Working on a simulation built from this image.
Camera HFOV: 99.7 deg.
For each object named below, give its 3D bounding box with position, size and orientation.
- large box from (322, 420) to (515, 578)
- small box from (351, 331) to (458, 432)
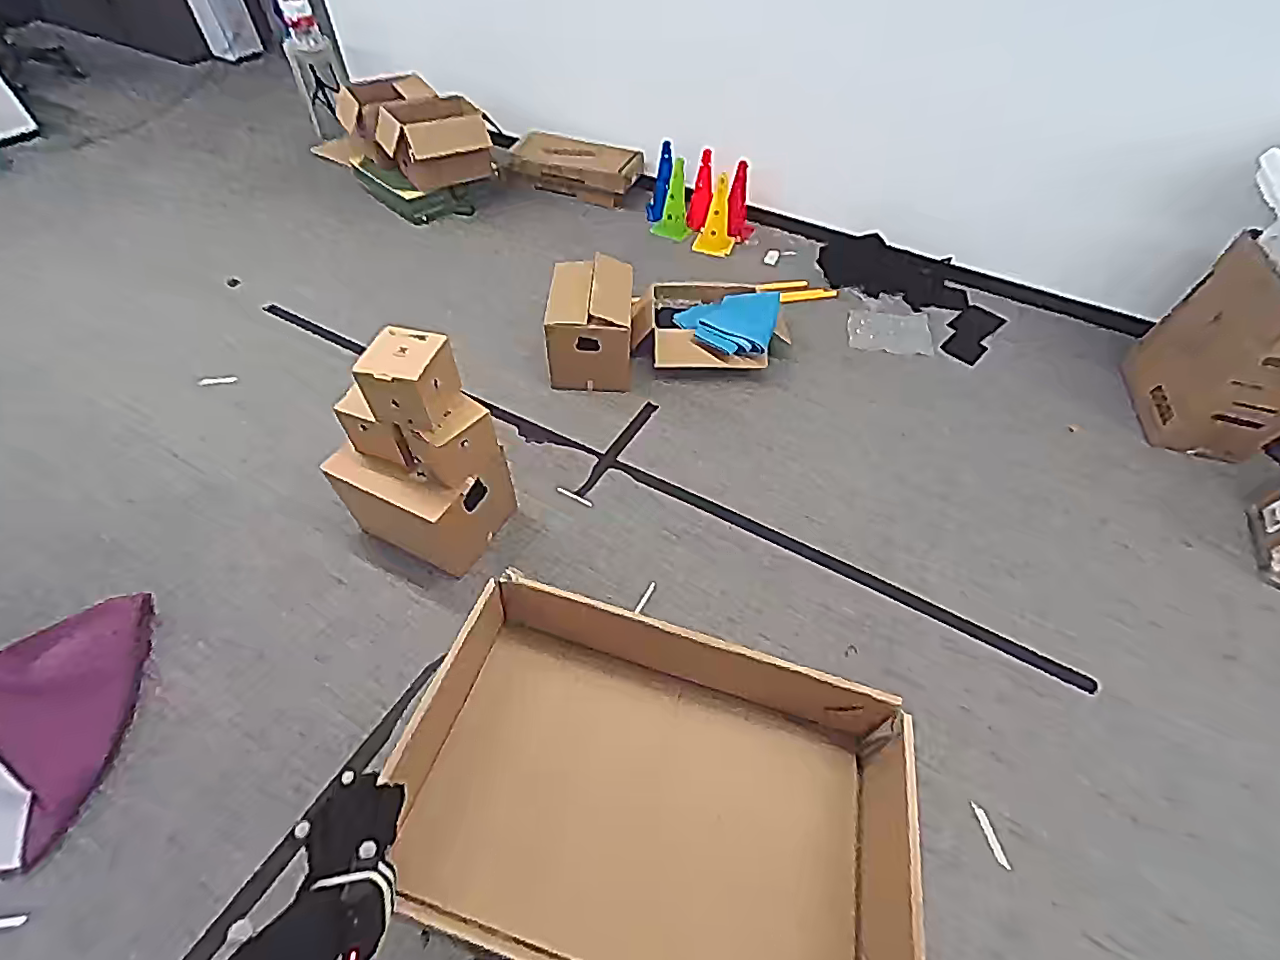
[{"bbox_3d":[-0.650,0.039,1.654,0.408,0.320,0.320,22,55,13],"label":"large box"},{"bbox_3d":[-0.580,-0.245,1.364,0.168,0.176,0.179,11,53,5],"label":"small box"}]
